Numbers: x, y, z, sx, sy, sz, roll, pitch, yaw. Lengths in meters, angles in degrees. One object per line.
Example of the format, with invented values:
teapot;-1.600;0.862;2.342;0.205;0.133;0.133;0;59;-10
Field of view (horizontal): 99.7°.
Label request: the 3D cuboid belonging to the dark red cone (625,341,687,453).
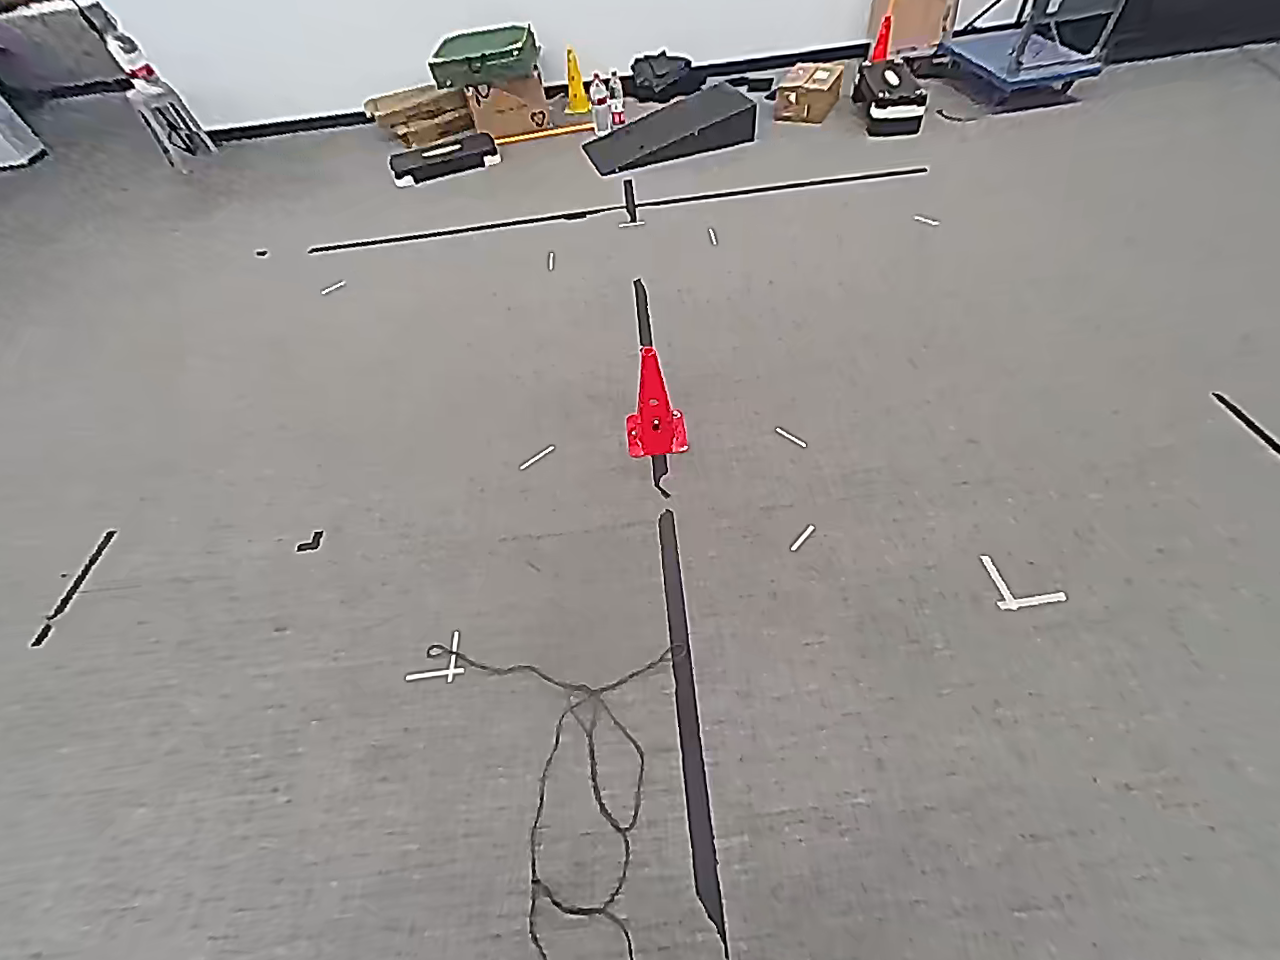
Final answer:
dark red cone;0.035;-0.275;1.712;0.201;0.394;0.202;-8;52;2
